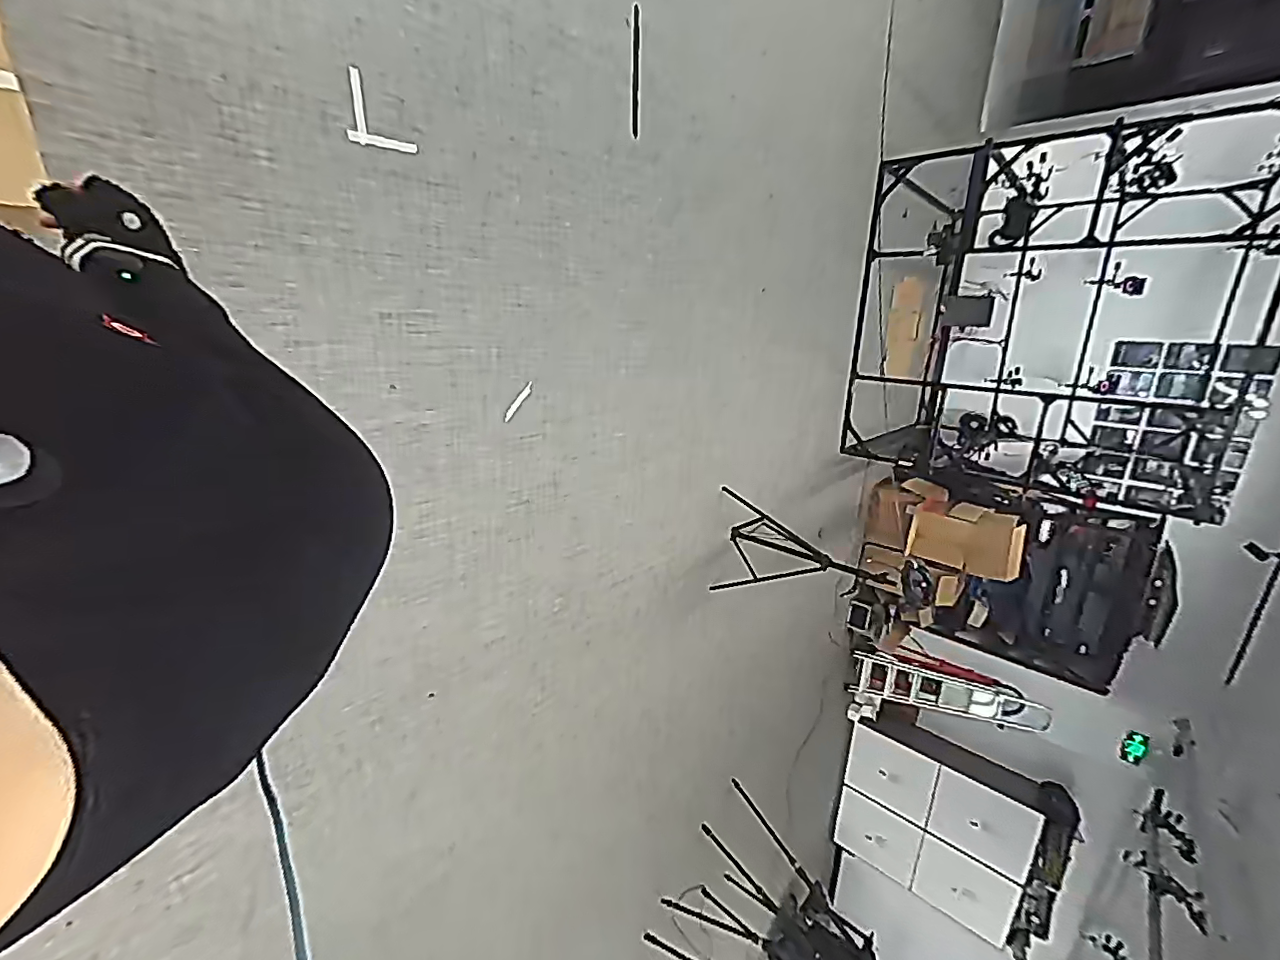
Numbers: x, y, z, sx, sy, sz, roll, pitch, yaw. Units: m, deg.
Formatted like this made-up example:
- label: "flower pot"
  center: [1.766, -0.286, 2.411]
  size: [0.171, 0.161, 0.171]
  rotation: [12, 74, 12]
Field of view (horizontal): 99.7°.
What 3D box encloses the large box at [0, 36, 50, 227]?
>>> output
- label: "large box"
  center: [-1.106, -0.527, 0.694]
  size: [0.408, 0.320, 0.320]
  rotation: [-20, 115, -46]
